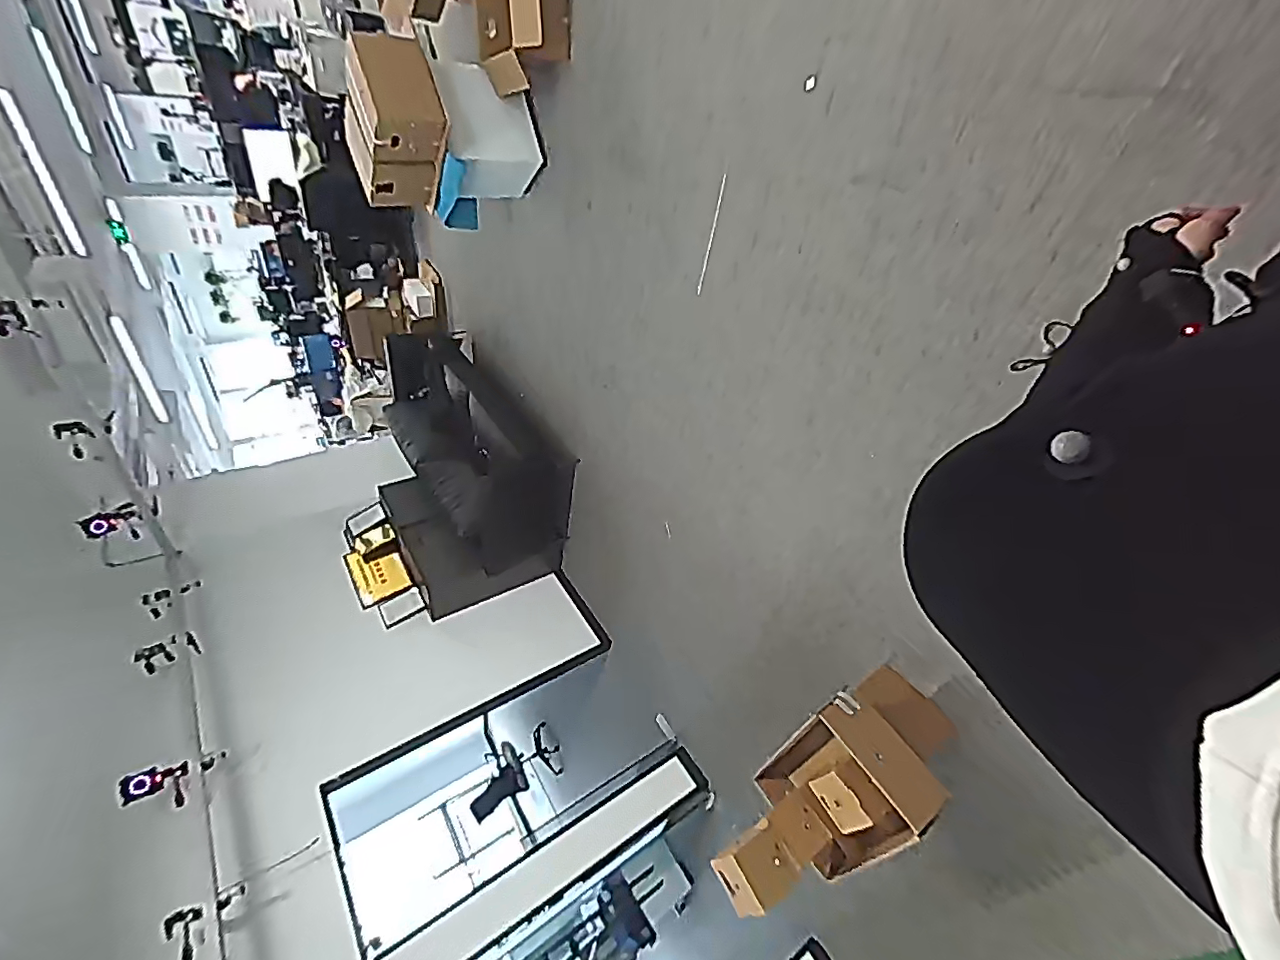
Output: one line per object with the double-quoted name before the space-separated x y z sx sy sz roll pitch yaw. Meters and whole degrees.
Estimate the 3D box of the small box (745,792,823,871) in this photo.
"small box" 0.465 1.164 1.767 0.168 0.176 0.179 49 139 33

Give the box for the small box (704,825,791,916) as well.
"small box" 0.334 1.210 1.679 0.168 0.176 0.179 56 142 25

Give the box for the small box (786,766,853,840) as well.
"small box" 0.595 1.127 1.856 0.168 0.176 0.179 49 140 32
